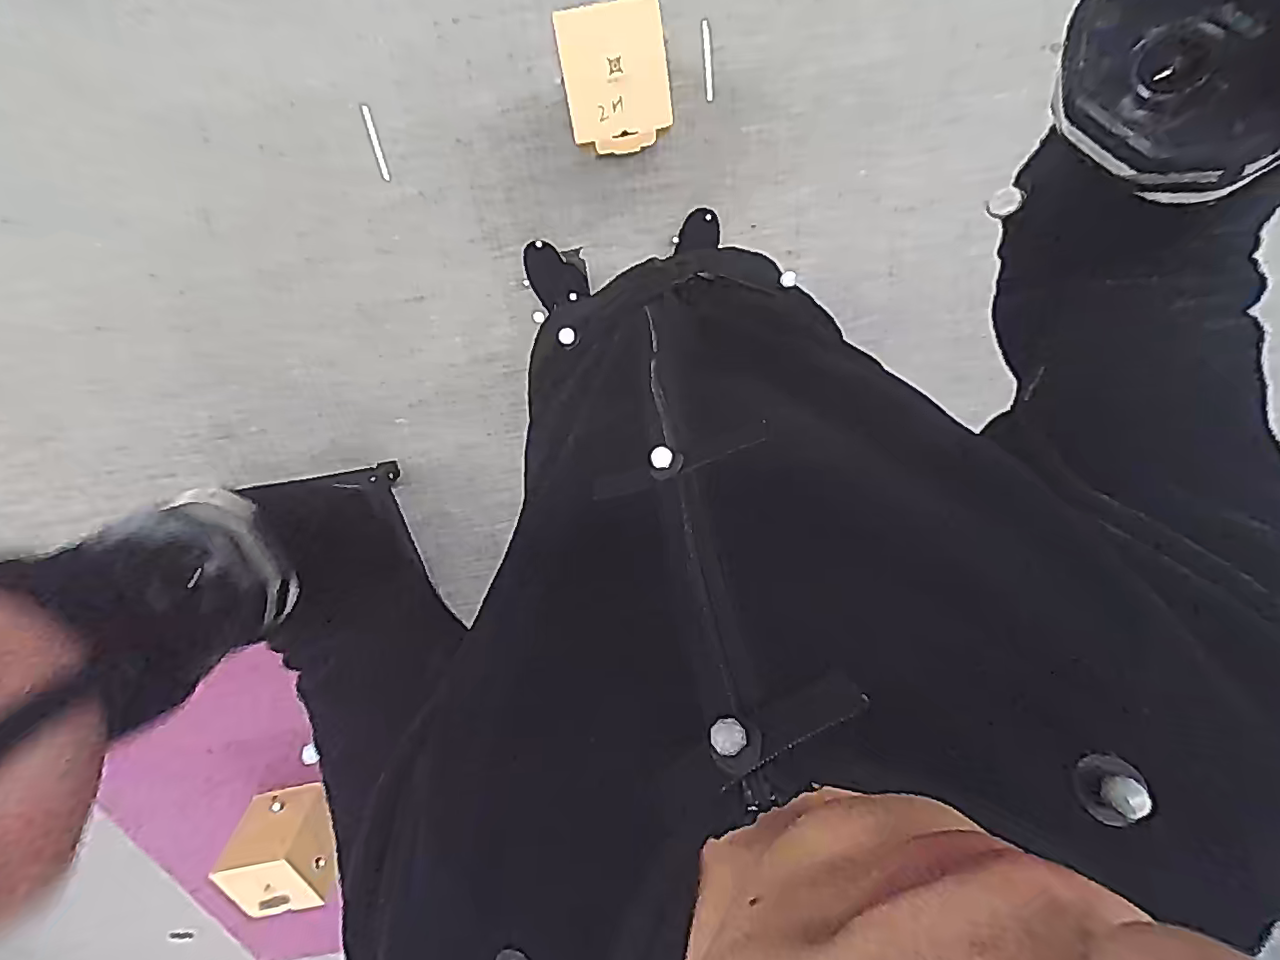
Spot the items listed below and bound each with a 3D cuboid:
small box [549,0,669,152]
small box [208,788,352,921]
[{"bbox_3d":[-0.053,-0.674,0.915,0.168,0.176,0.179,-11,118,0],"label":"small box"},{"bbox_3d":[-0.767,0.811,1.179,0.168,0.176,0.179,-13,117,2],"label":"small box"}]
